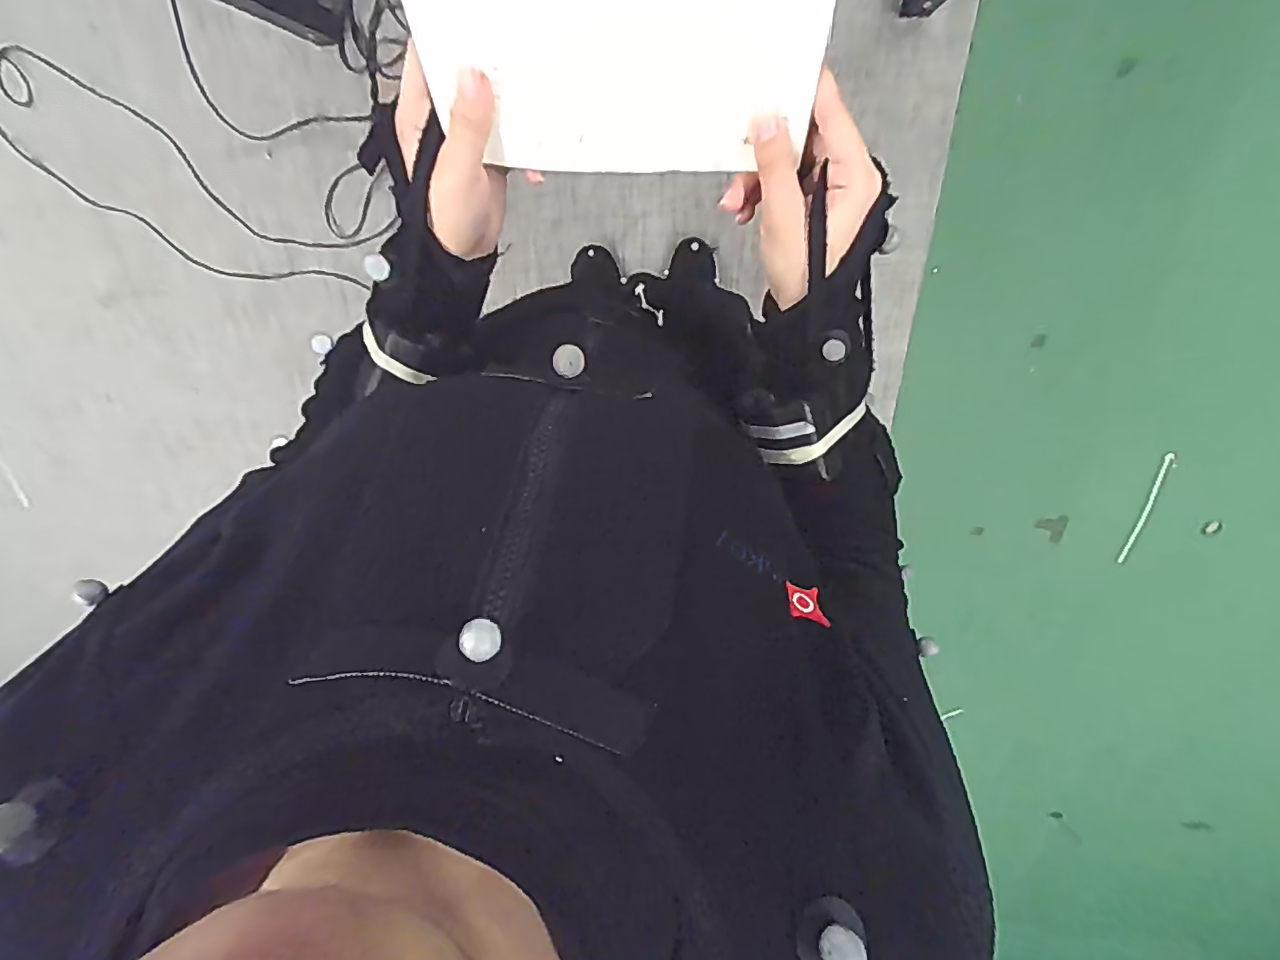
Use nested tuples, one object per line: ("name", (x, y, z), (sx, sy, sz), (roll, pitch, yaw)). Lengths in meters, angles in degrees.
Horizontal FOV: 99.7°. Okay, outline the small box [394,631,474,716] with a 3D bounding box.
("small box", (-0.647, 0.603, 1.703), (0.179, 0.176, 0.168), (16, 117, -4))
